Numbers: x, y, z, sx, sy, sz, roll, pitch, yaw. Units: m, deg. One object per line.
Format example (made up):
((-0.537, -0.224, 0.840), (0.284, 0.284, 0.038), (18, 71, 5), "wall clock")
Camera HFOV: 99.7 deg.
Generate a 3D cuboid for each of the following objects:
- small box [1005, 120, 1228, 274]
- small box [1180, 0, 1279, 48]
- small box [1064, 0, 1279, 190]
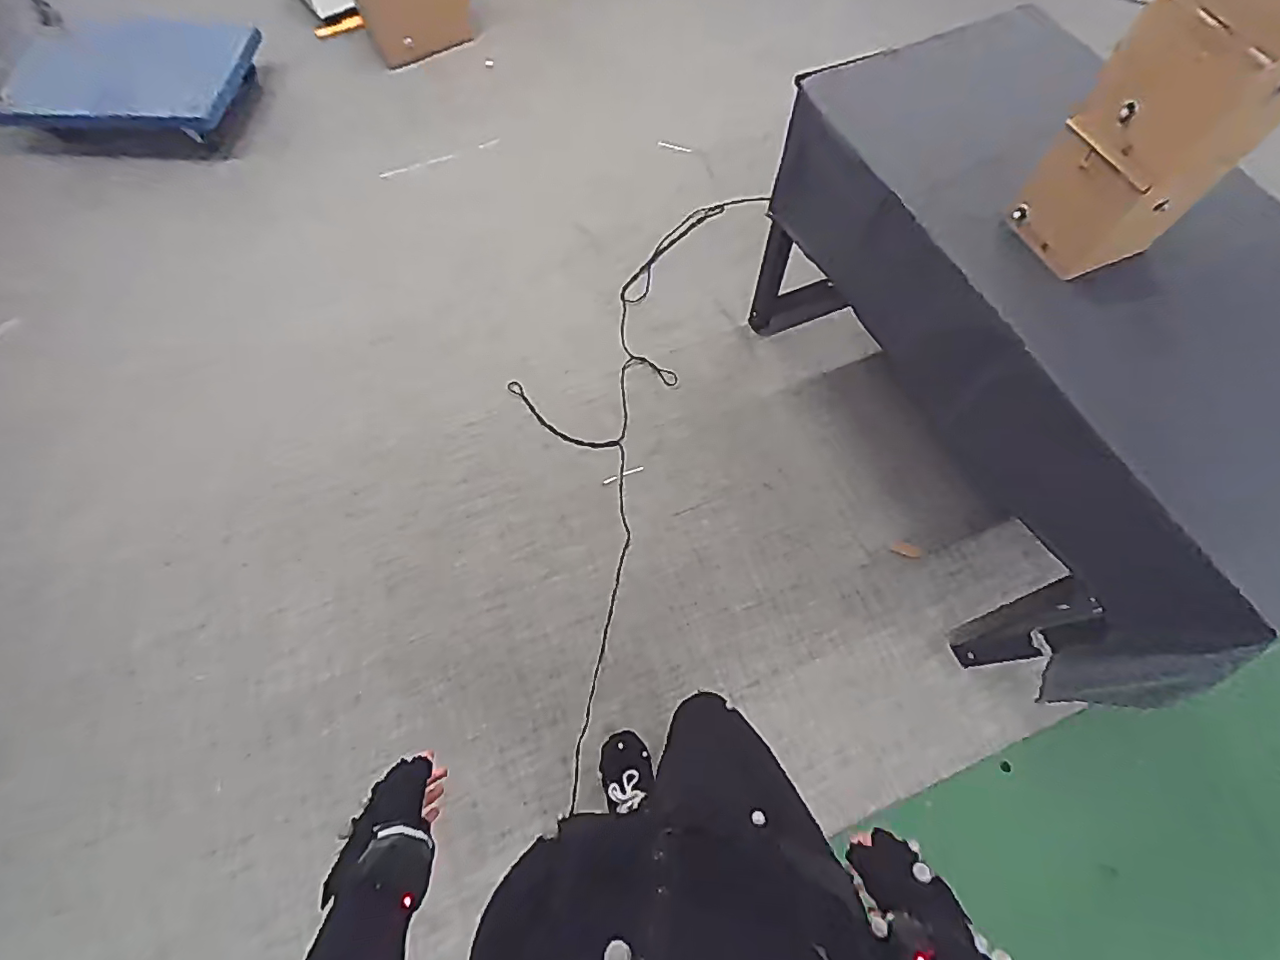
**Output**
((0.727, -0.459, 0.857), (0.179, 0.176, 0.168), (-22, 68, -9), "small box")
((0.720, -0.584, 0.555), (0.168, 0.176, 0.179), (-20, 68, -7), "small box")
((0.724, -0.522, 0.708), (0.179, 0.176, 0.168), (-22, 68, -8), "small box")
